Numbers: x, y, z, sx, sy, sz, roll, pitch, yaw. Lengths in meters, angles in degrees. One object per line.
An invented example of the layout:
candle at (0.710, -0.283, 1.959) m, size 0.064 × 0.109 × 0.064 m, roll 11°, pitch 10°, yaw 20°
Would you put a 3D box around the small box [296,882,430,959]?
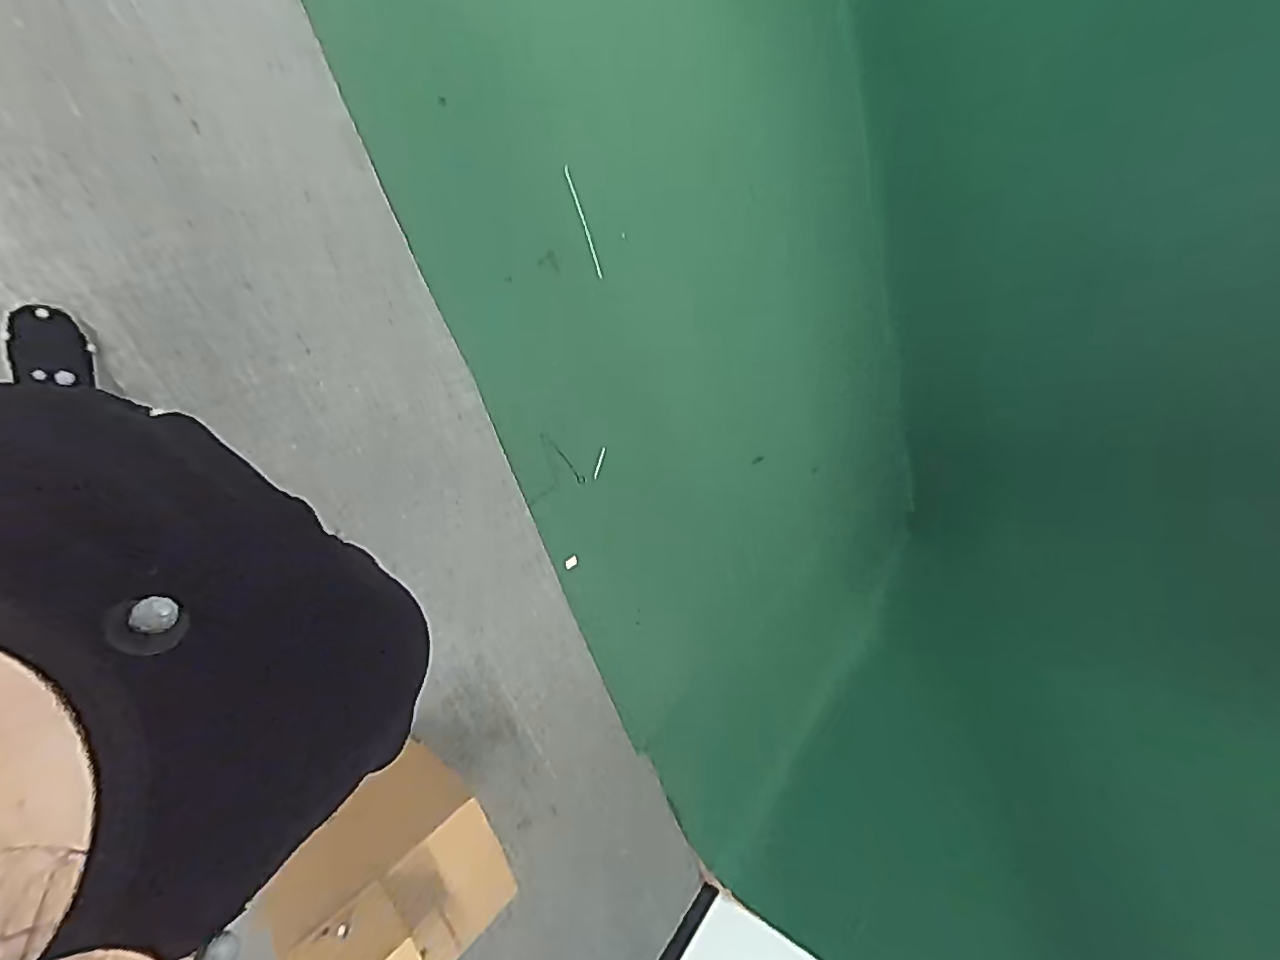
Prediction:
small box at (-0.479, 0.879, 0.963) m, size 0.168 × 0.176 × 0.179 m, roll -28°, pitch 112°, yaw -39°
